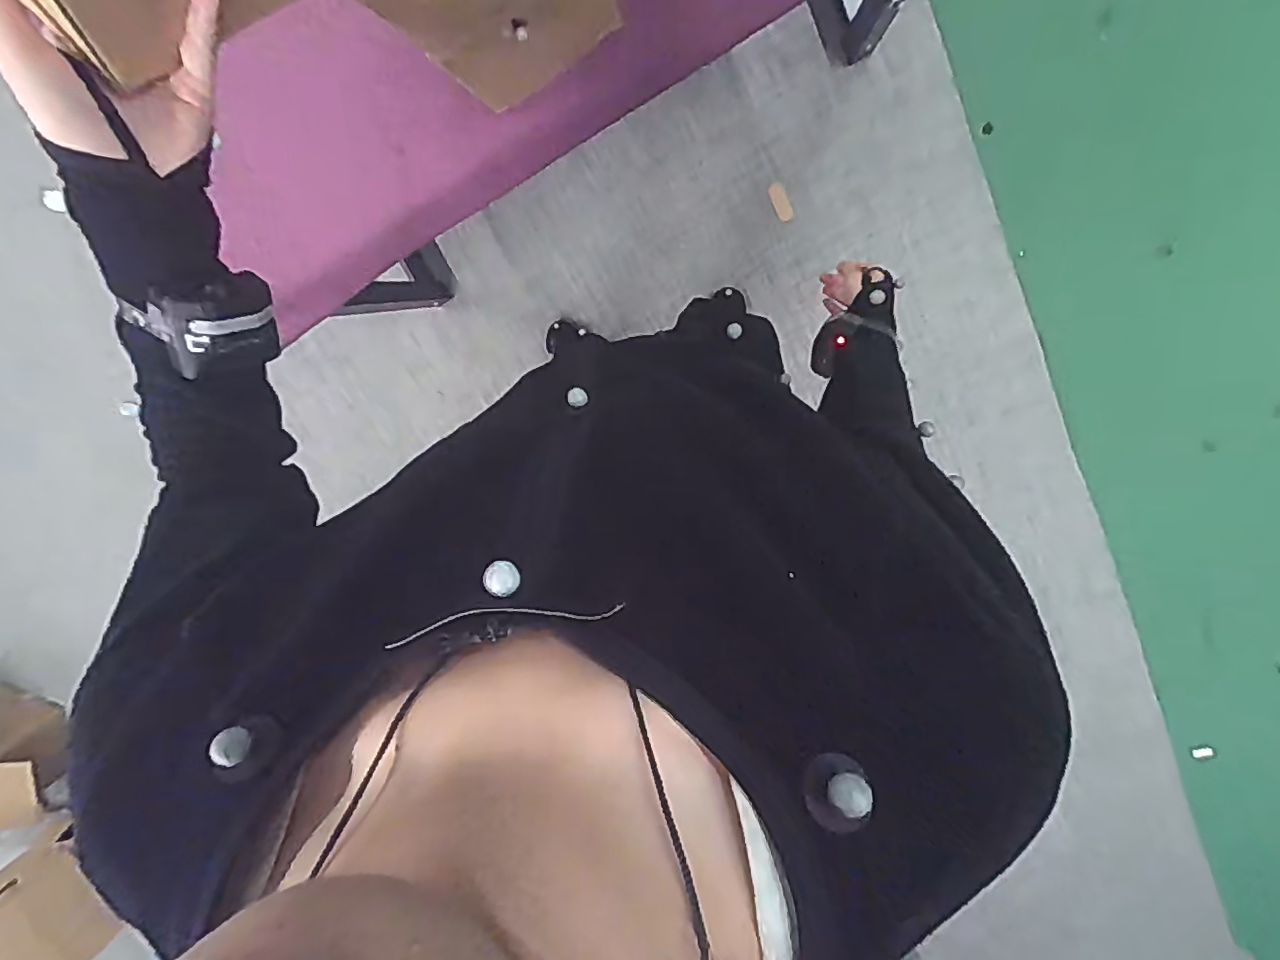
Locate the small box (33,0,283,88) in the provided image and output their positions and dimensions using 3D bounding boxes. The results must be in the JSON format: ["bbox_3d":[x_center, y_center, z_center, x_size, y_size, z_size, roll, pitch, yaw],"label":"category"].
[{"bbox_3d":[-0.245,-0.328,0.217,0.168,0.179,0.176,44,72,-14],"label":"small box"}]

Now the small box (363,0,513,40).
[{"bbox_3d":[-0.159,-0.459,0.379,0.168,0.176,0.179,-20,105,15],"label":"small box"}]

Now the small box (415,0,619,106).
[{"bbox_3d":[-0.142,-0.515,0.533,0.179,0.176,0.168,-23,104,16],"label":"small box"}]
